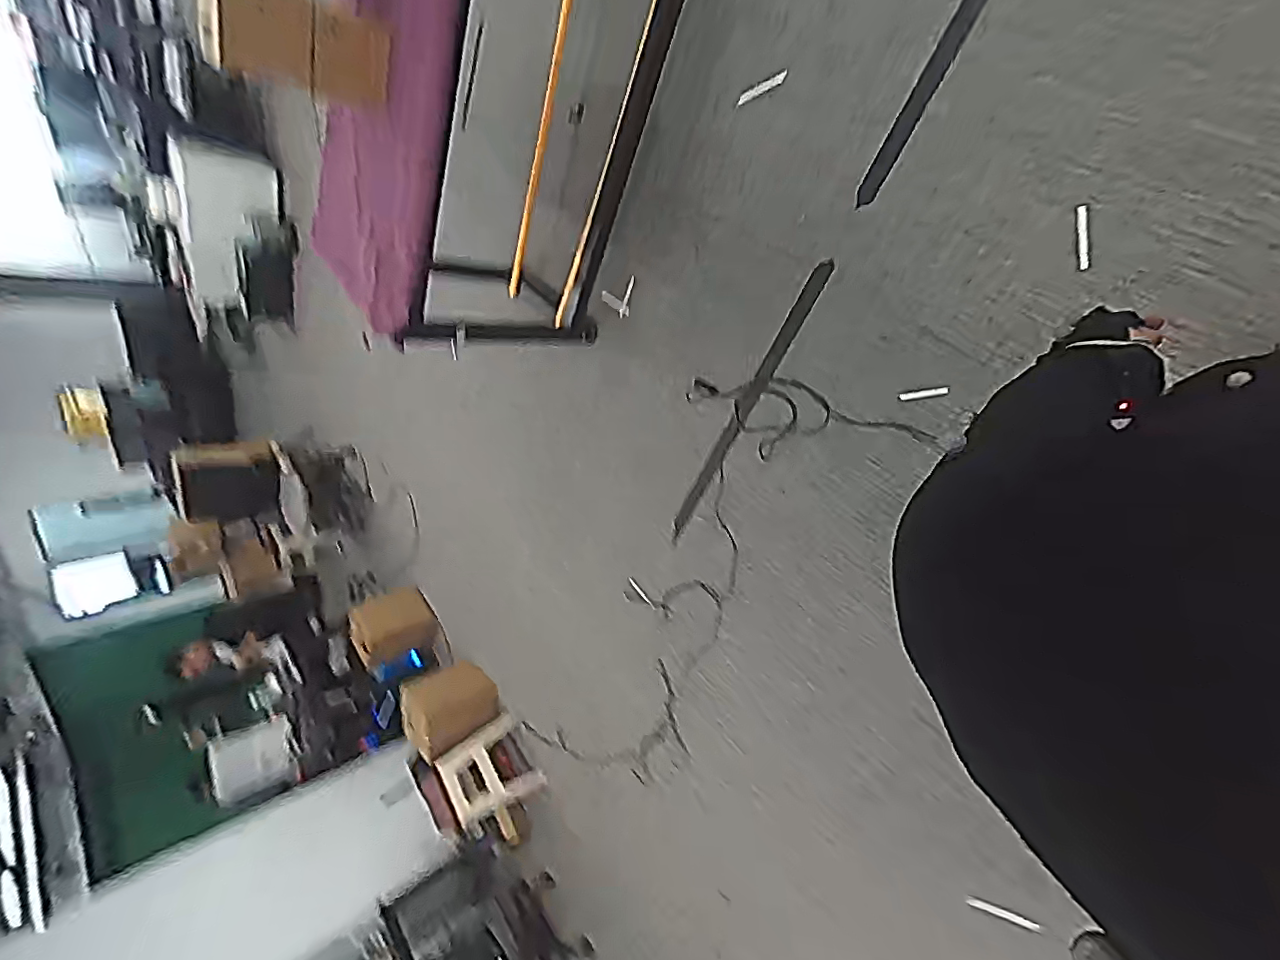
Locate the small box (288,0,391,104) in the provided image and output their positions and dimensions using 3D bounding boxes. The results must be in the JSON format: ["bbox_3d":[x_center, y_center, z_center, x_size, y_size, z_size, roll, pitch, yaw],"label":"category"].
[{"bbox_3d":[-0.701,-1.017,1.263,0.168,0.176,0.179,45,127,28],"label":"small box"}]
